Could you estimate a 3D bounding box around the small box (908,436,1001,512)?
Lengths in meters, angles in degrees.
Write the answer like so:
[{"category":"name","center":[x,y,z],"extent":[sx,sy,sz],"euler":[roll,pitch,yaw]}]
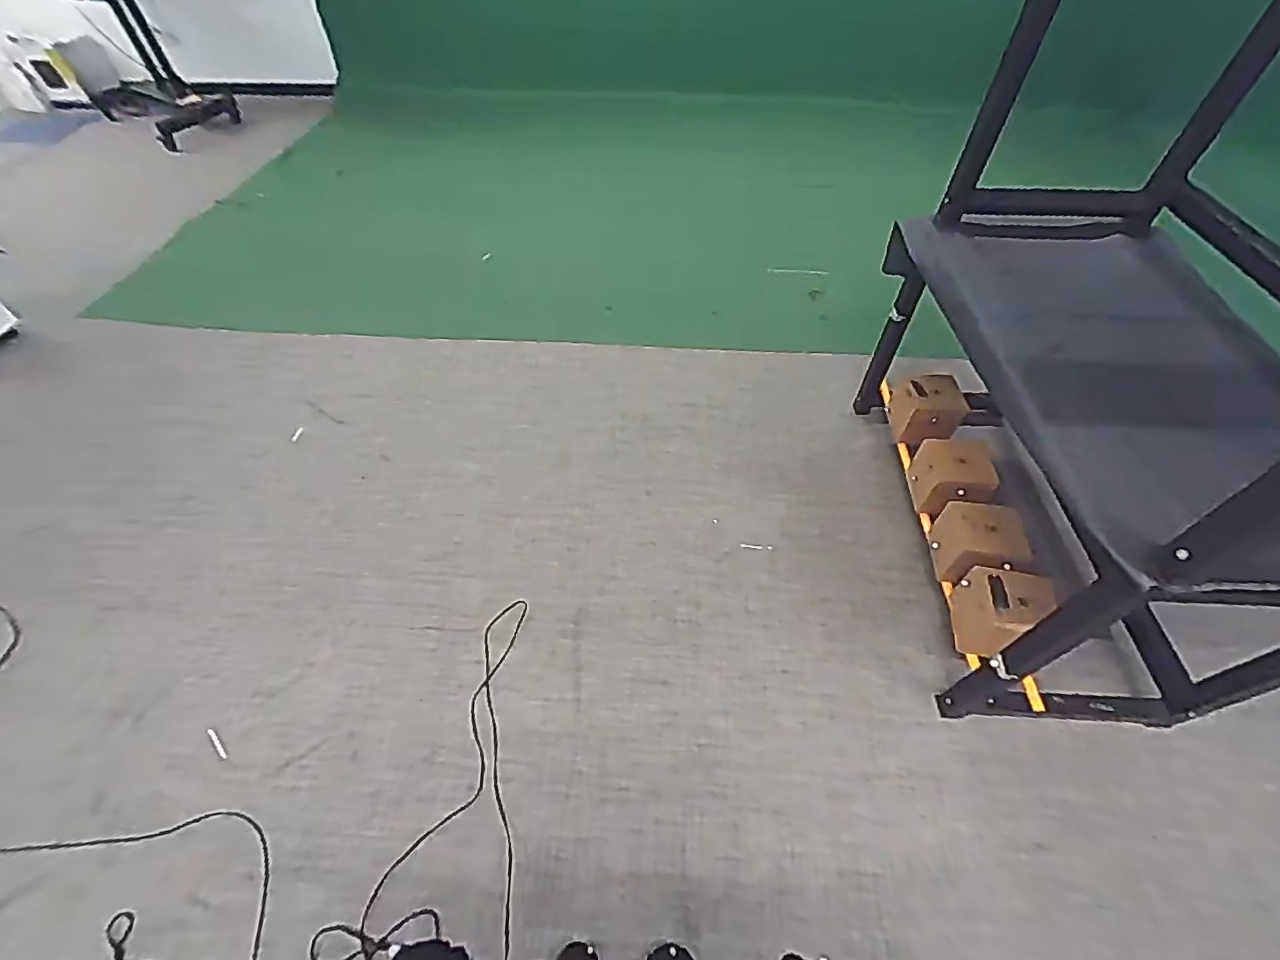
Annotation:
[{"category":"small box","center":[0.953,-0.016,1.652],"extent":[0.179,0.176,0.168],"euler":[2,52,5]}]
